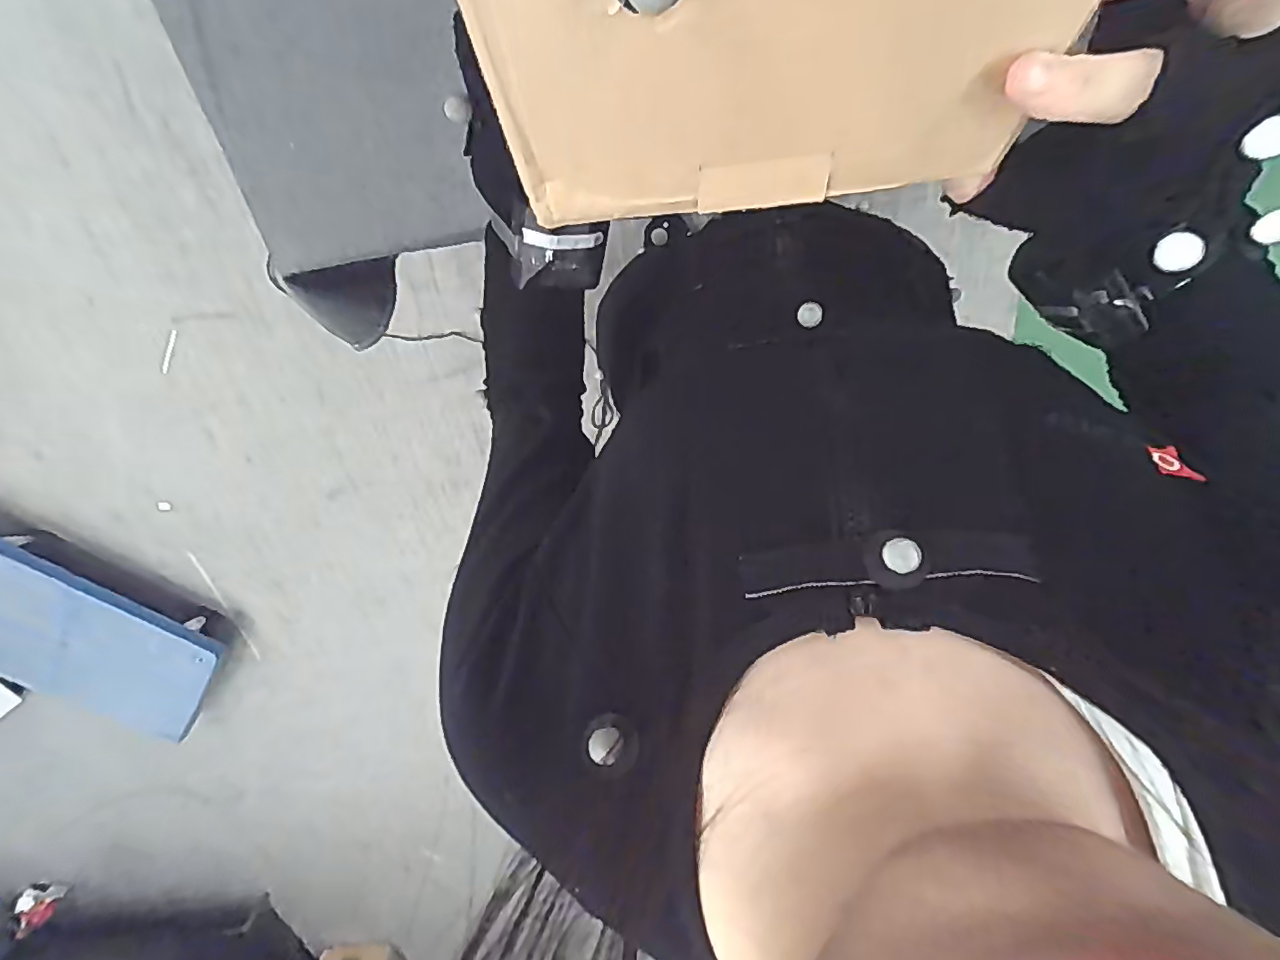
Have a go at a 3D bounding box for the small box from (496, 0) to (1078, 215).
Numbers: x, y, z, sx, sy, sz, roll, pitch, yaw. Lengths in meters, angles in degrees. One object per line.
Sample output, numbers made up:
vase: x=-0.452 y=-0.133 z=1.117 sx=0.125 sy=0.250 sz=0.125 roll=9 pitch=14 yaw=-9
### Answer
small box: x=0.032 y=-0.213 z=0.148 sx=0.168 sy=0.179 sz=0.176 roll=-6 pitch=160 yaw=3
